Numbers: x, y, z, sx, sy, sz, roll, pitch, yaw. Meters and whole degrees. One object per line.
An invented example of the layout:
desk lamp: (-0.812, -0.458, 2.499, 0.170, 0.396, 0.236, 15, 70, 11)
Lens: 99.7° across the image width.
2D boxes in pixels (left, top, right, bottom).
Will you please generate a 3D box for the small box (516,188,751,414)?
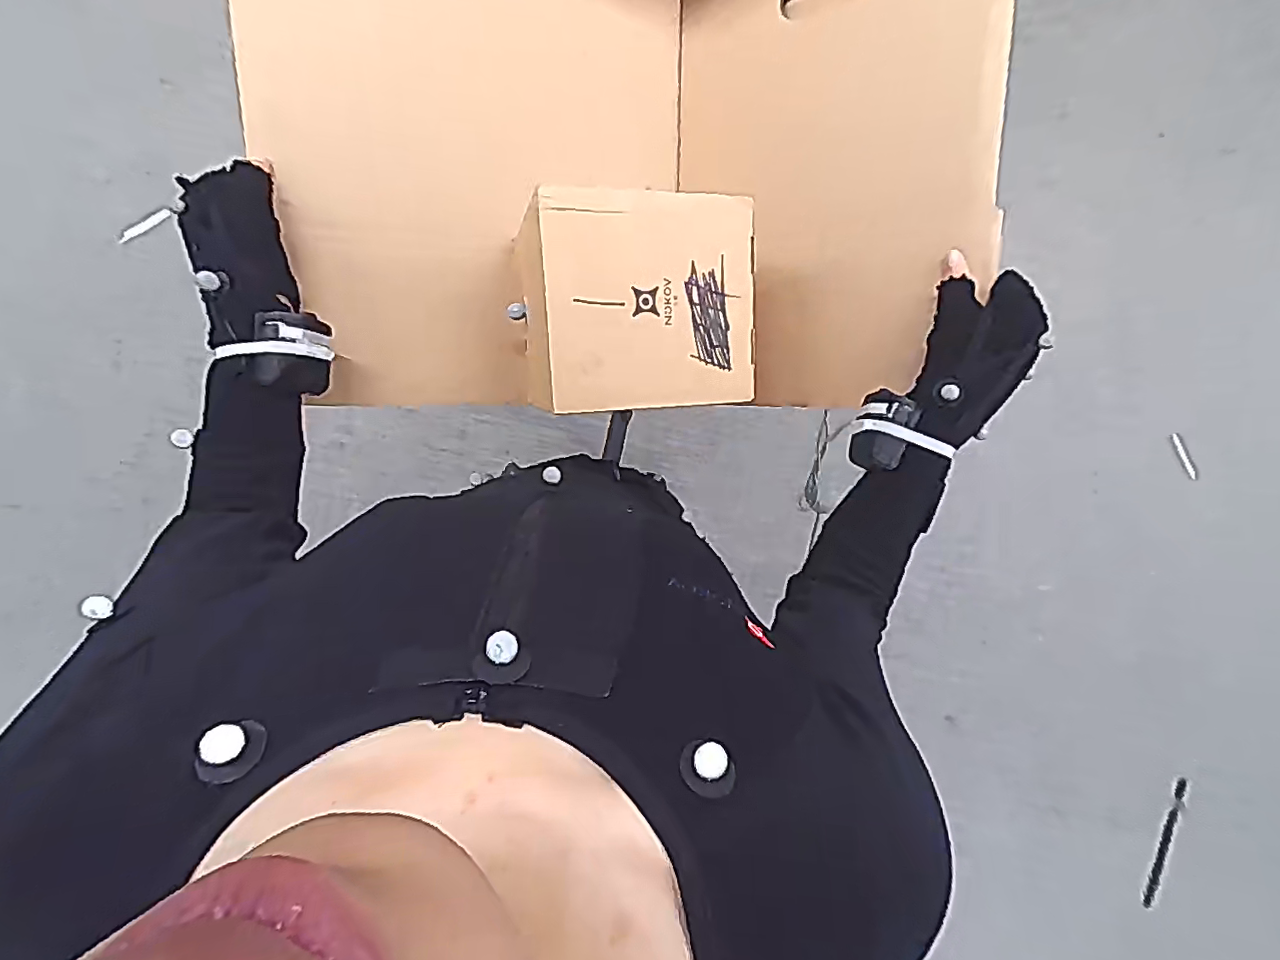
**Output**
small box: (-0.014, -0.155, 0.505, 0.179, 0.176, 0.168, -6, 102, -16)
